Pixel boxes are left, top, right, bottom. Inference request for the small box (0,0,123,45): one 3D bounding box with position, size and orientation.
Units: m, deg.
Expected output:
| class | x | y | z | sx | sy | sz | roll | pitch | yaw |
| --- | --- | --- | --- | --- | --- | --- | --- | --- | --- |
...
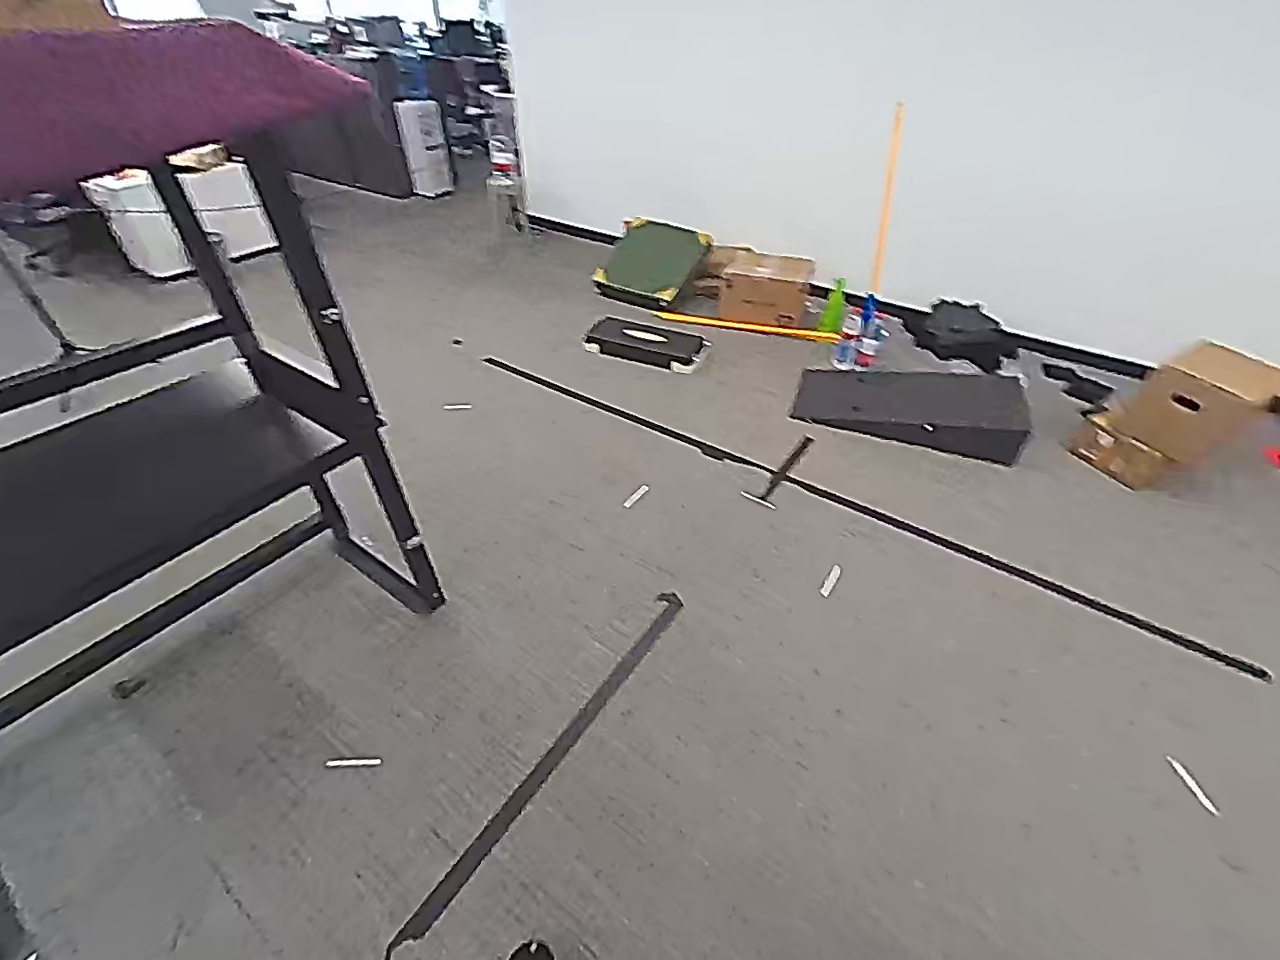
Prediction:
| class | x | y | z | sx | sy | sz | roll | pitch | yaw |
| --- | --- | --- | --- | --- | --- | --- | --- | --- | --- |
| small box | -0.882 | -0.721 | 0.752 | 0.168 | 0.176 | 0.179 | 23 | 45 | 26 |
